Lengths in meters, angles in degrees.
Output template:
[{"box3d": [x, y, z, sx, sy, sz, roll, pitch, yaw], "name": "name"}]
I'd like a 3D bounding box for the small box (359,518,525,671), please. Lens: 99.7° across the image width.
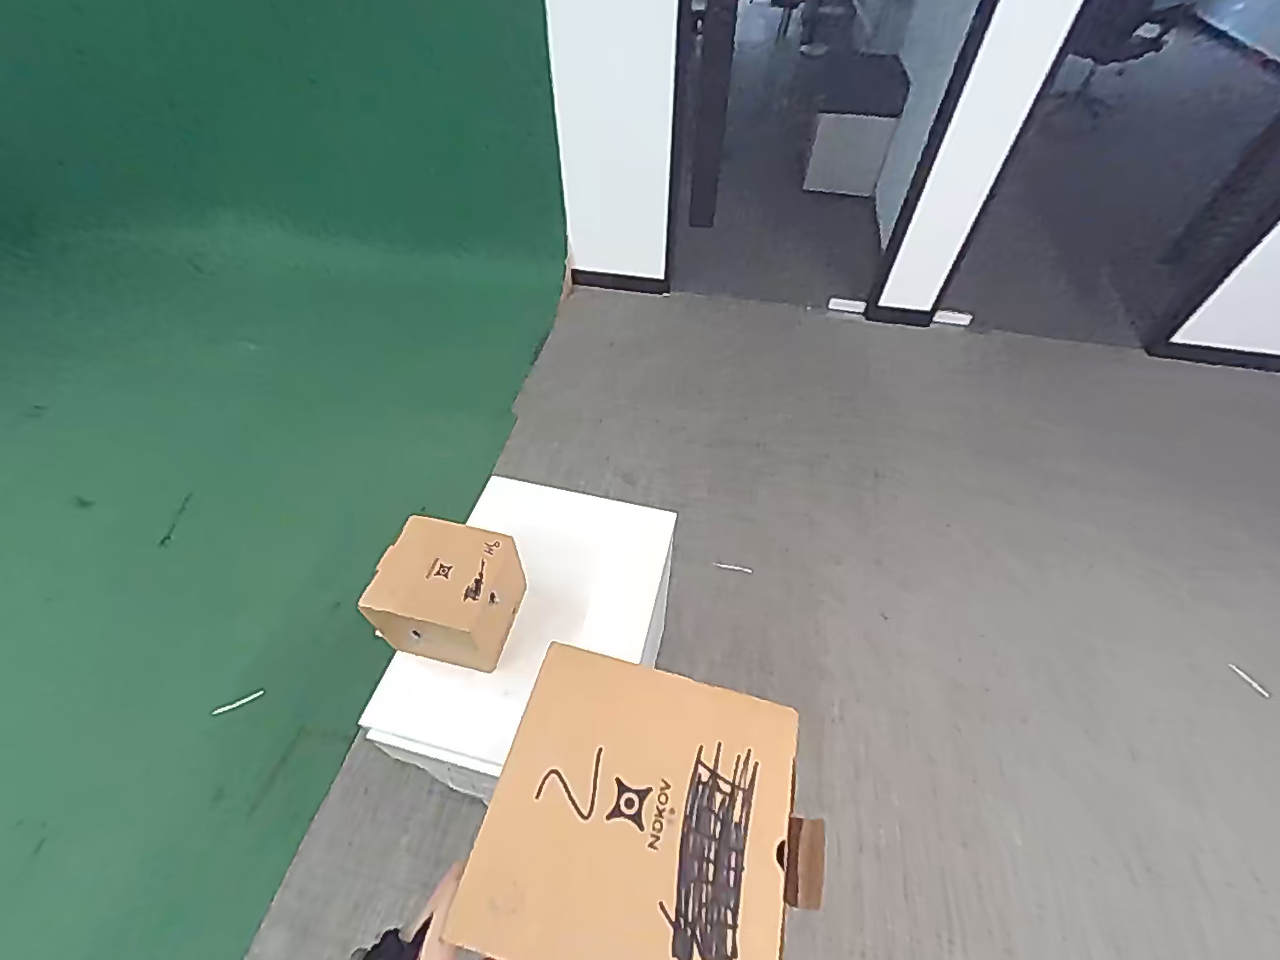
[{"box3d": [-0.303, 0.188, 0.871, 0.179, 0.176, 0.168, 11, 51, 7], "name": "small box"}]
